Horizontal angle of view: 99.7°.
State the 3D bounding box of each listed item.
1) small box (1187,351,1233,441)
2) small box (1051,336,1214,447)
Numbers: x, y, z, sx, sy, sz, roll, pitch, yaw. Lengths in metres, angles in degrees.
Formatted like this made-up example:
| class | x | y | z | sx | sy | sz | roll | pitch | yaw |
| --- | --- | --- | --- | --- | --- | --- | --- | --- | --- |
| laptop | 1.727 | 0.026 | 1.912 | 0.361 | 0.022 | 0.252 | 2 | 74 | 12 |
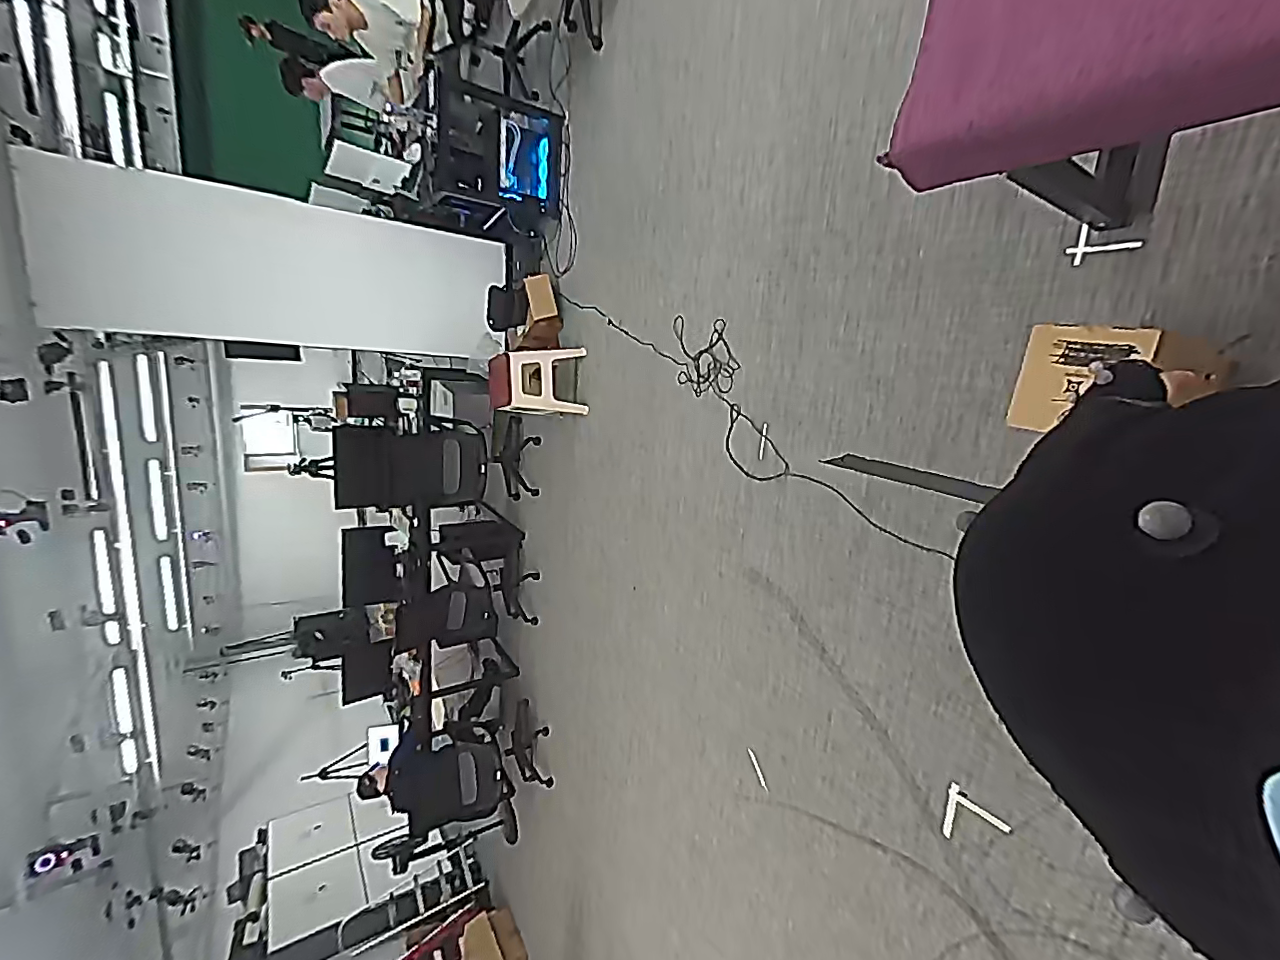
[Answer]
| class | x | y | z | sx | sy | sz | roll | pitch | yaw |
| --- | --- | --- | --- | --- | --- | --- | --- | --- | --- |
| small box | 1.029 | -0.177 | 1.083 | 0.168 | 0.176 | 0.179 | 31 | 118 | 50 |
| small box | 0.897 | -0.162 | 0.985 | 0.168 | 0.176 | 0.179 | 23 | 113 | 53 |
